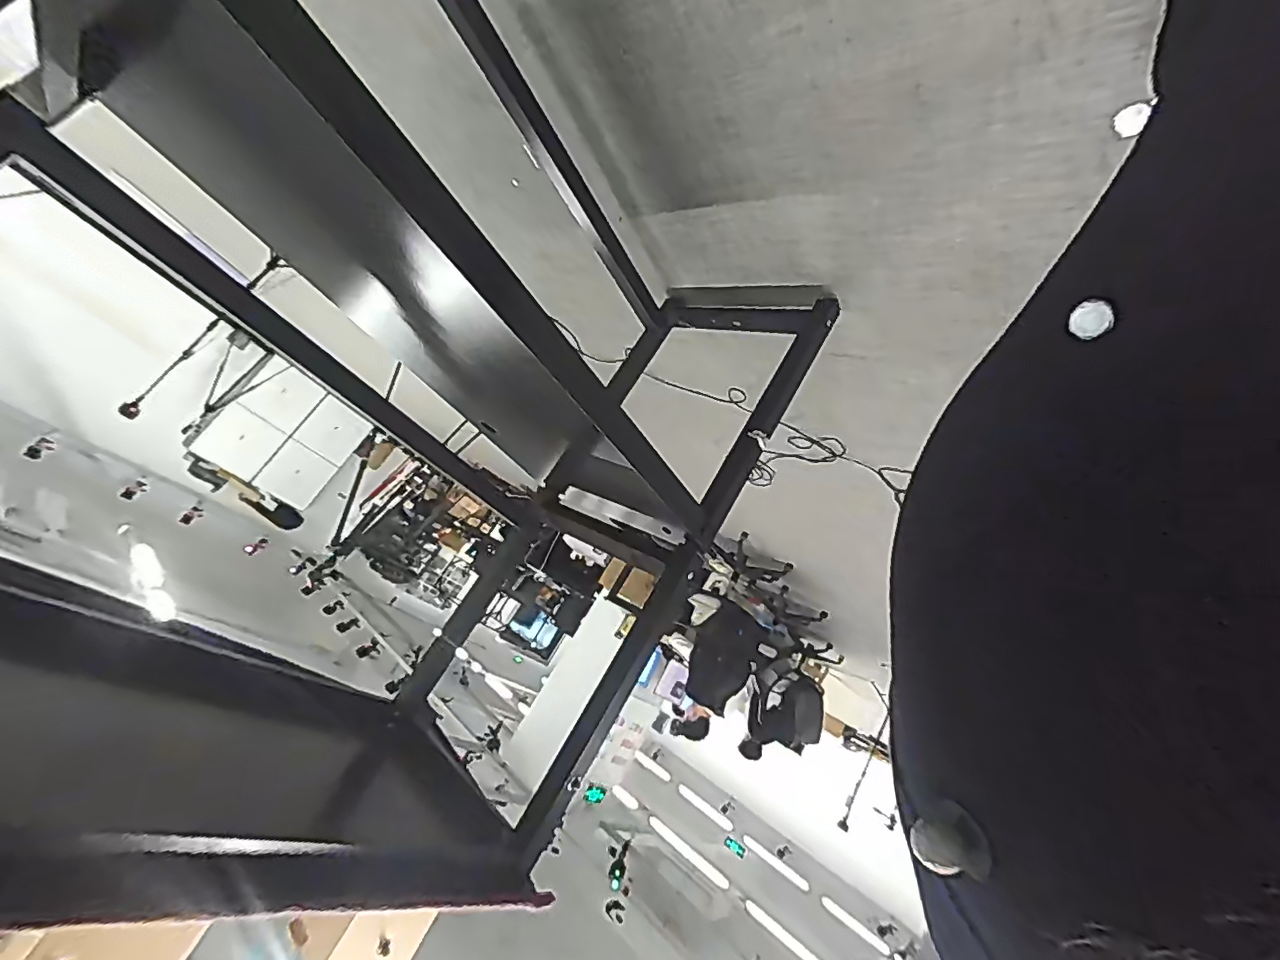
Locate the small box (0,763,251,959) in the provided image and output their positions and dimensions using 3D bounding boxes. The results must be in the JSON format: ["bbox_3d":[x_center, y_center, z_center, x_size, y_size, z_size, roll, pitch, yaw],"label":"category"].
[{"bbox_3d":[-0.645,0.496,0.689,0.168,0.176,0.179,20,160,42],"label":"small box"}]
